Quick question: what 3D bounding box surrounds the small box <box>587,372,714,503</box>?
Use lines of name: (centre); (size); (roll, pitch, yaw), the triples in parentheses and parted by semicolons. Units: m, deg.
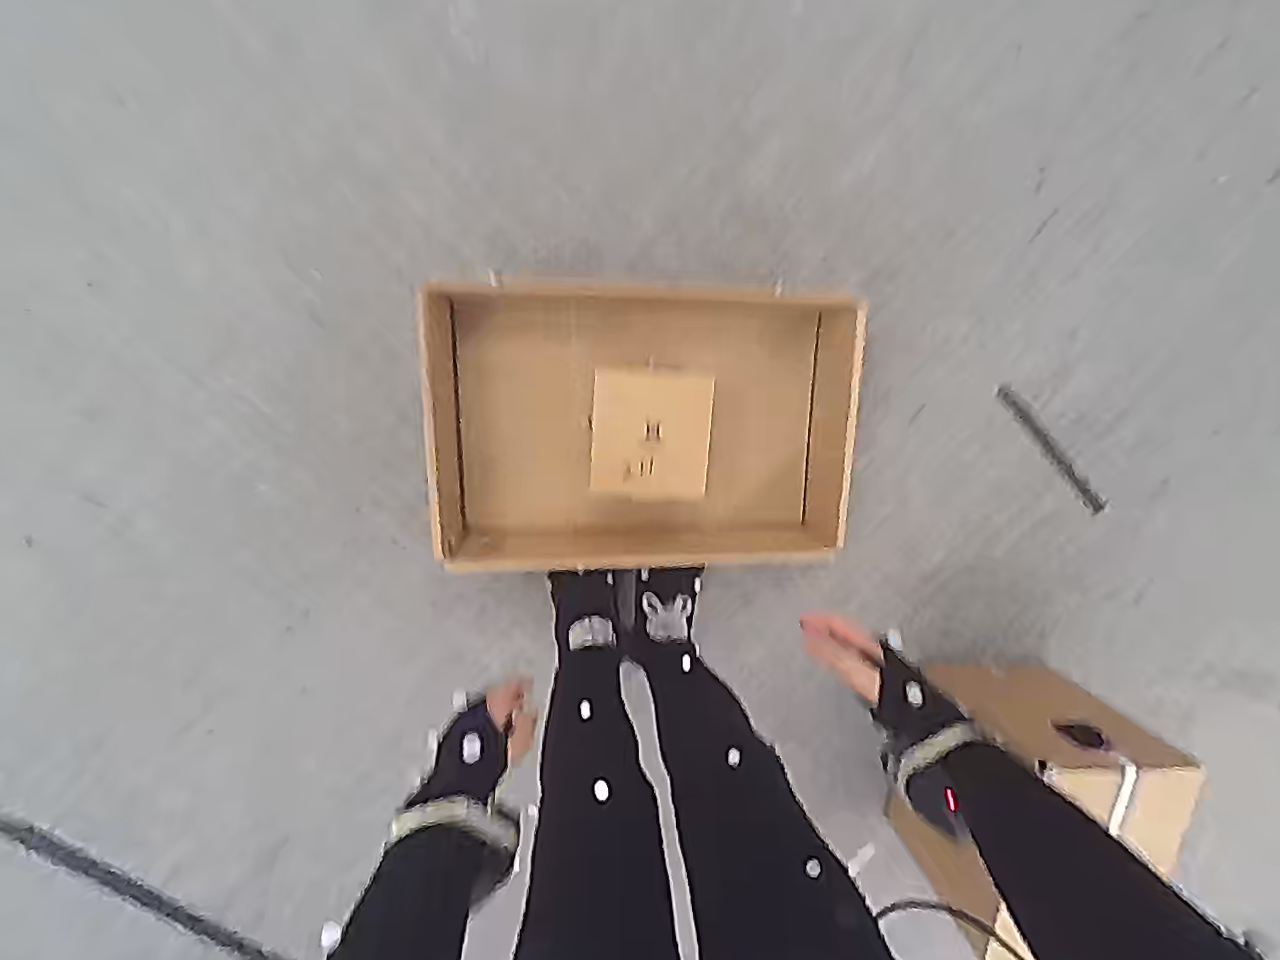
small box: (0.006, -0.071, 0.829); (0.168, 0.176, 0.179); (3, 101, -7)
